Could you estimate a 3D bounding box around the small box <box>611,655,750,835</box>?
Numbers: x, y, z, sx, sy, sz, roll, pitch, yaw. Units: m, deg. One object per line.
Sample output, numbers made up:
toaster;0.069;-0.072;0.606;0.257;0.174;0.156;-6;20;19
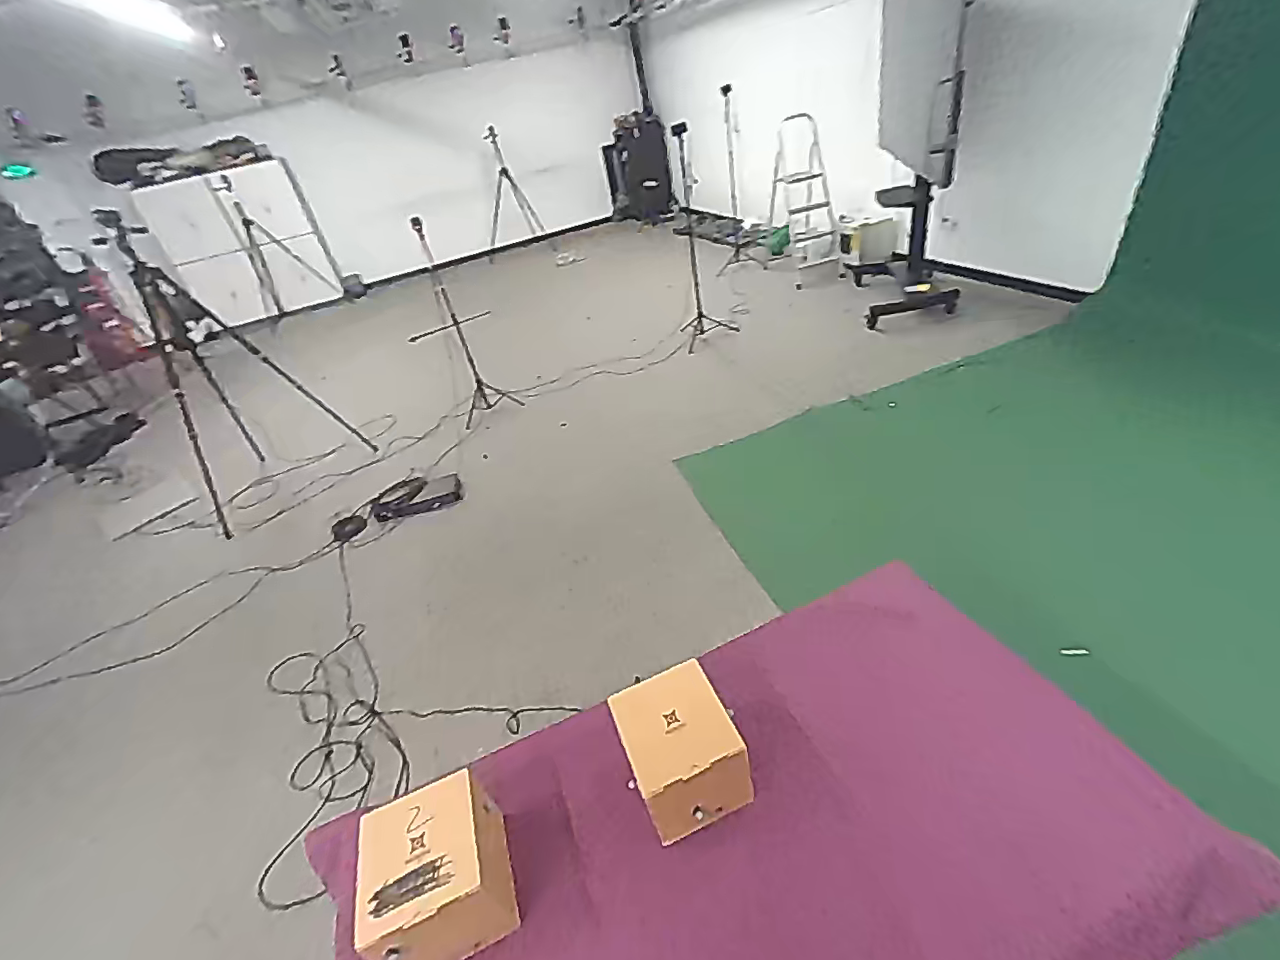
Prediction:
small box;0.066;0.432;0.887;0.168;0.176;0.179;-21;37;-12
